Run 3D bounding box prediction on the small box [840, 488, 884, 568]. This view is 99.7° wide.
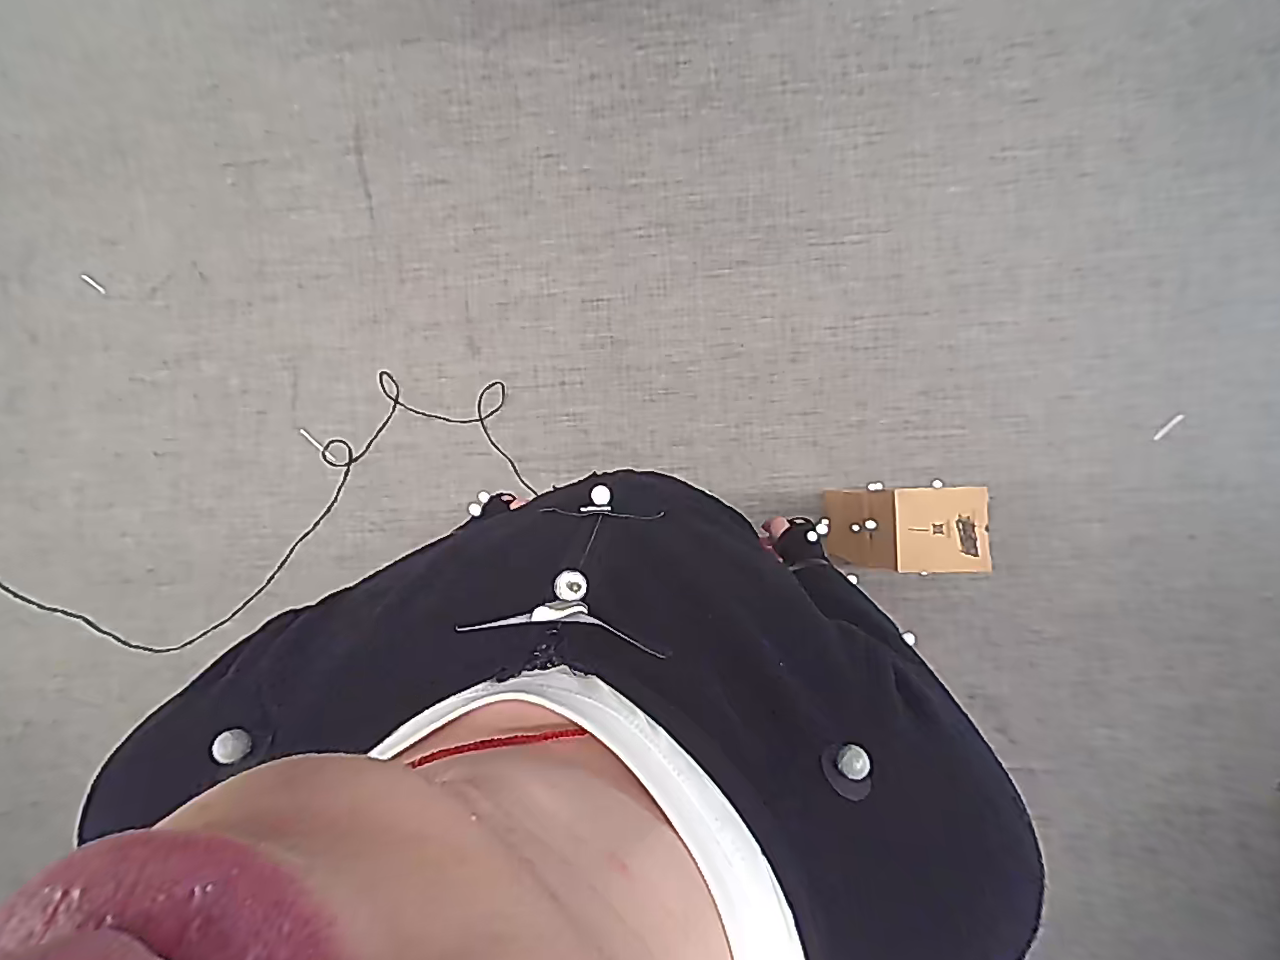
[{"bbox_3d":[0.589,0.108,1.295,0.168,0.176,0.179,-3,92,4],"label":"small box"}]

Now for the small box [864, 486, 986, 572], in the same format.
[{"bbox_3d":[0.586,0.097,1.129,0.179,0.176,0.168,-1,89,4],"label":"small box"}]

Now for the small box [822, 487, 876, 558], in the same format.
[{"bbox_3d":[0.597,0.110,1.455,0.168,0.176,0.179,-1,90,3],"label":"small box"}]
